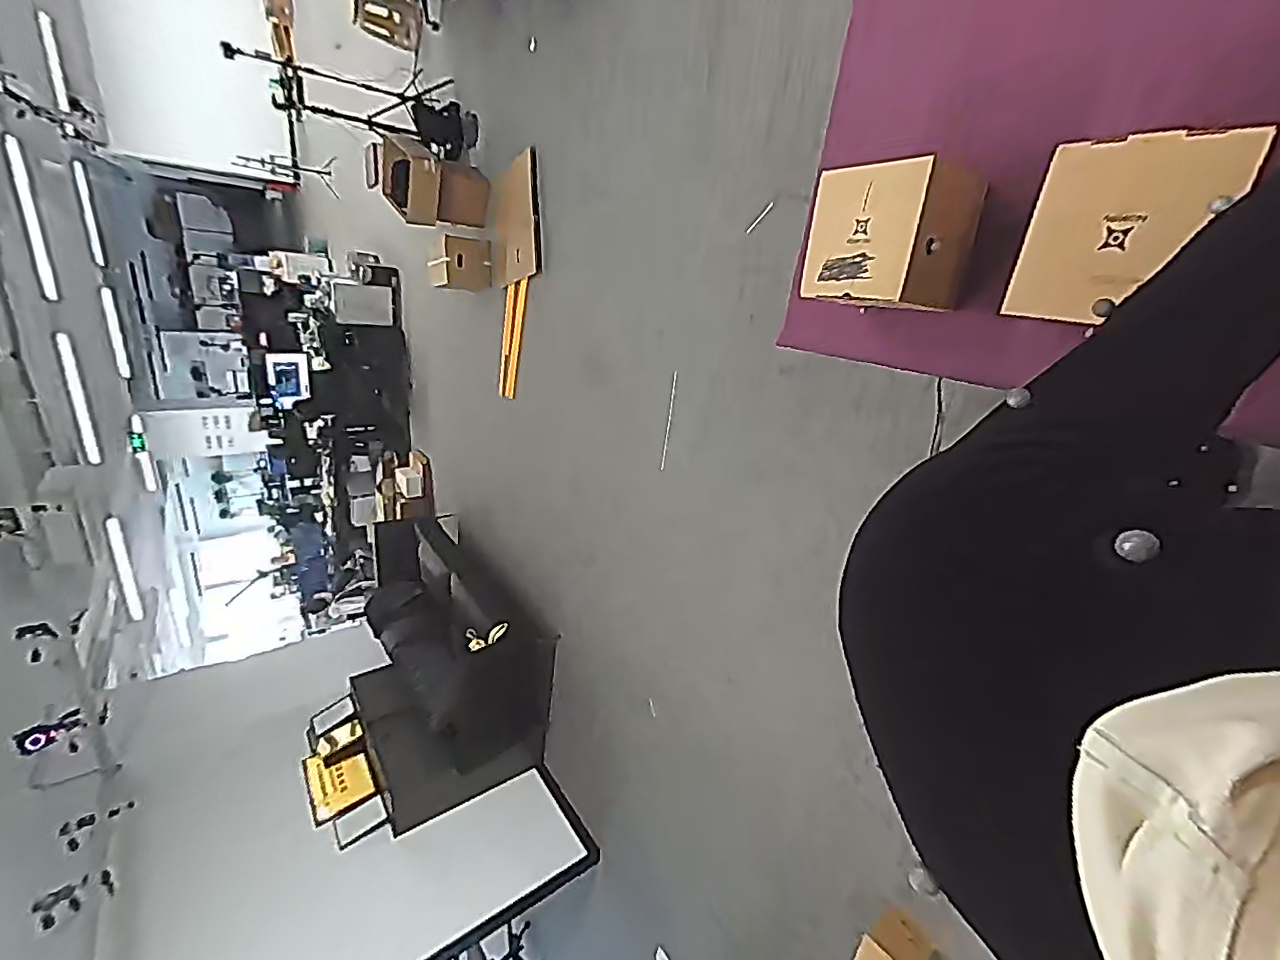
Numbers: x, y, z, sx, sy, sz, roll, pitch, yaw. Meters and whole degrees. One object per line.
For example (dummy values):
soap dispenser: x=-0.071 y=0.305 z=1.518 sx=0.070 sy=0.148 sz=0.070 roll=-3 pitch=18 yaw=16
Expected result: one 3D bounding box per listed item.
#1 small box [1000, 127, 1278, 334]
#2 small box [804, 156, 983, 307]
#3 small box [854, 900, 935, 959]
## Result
small box: x=0.551 y=-0.266 z=0.603 sx=0.168 sy=0.176 sz=0.179 roll=33 pitch=123 yaw=47
small box: x=0.379 y=-0.361 z=0.812 sx=0.168 sy=0.176 sz=0.179 roll=27 pitch=117 yaw=48
small box: x=0.862 y=1.586 z=1.825 sx=0.168 sy=0.176 sz=0.179 roll=31 pitch=121 yaw=47
